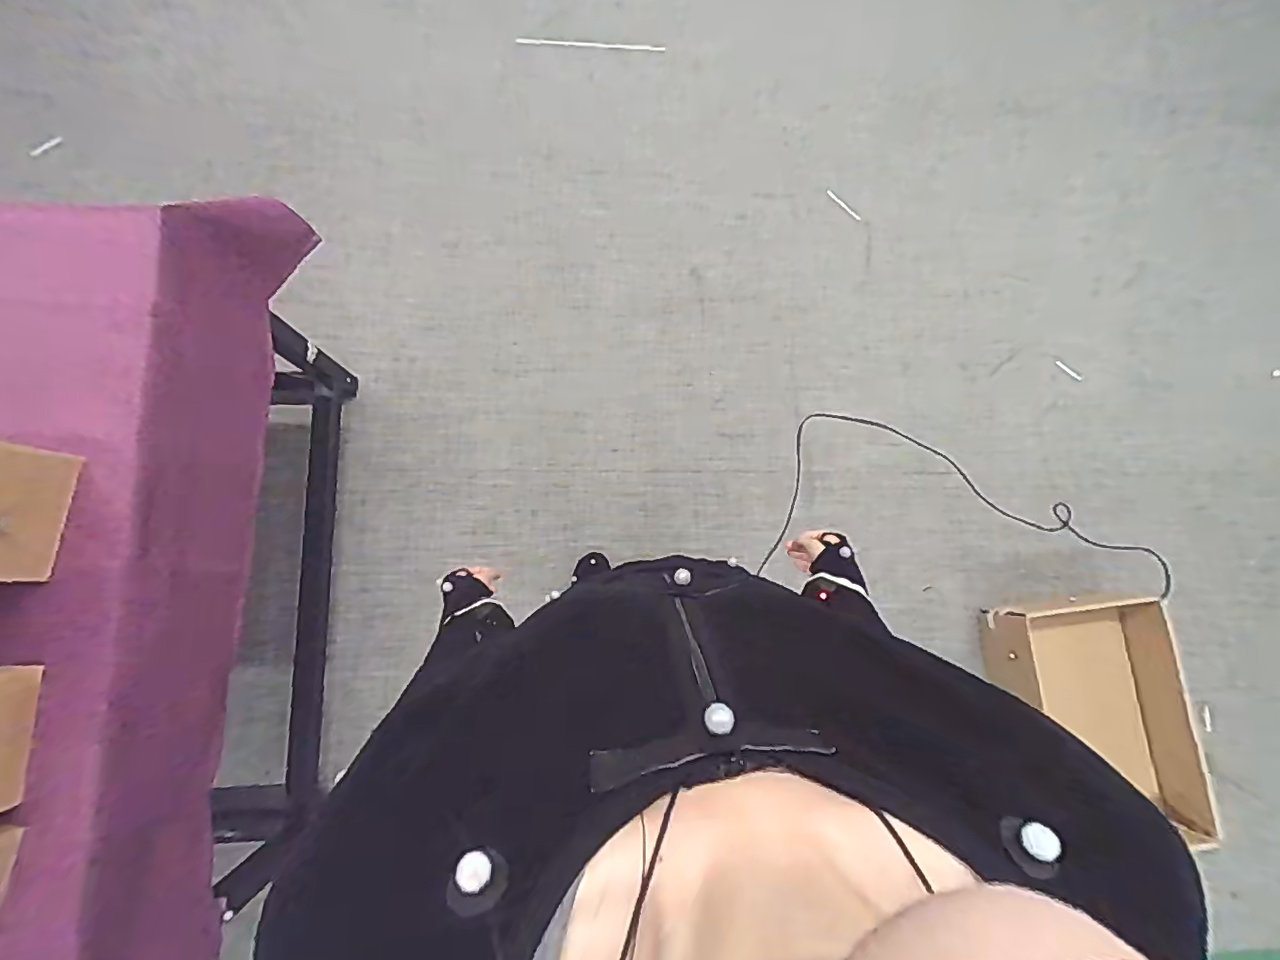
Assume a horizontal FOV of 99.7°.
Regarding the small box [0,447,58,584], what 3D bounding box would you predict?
[{"bbox_3d":[-0.873,0.033,0.646,0.168,0.176,0.179,7,81,-4],"label":"small box"}]
